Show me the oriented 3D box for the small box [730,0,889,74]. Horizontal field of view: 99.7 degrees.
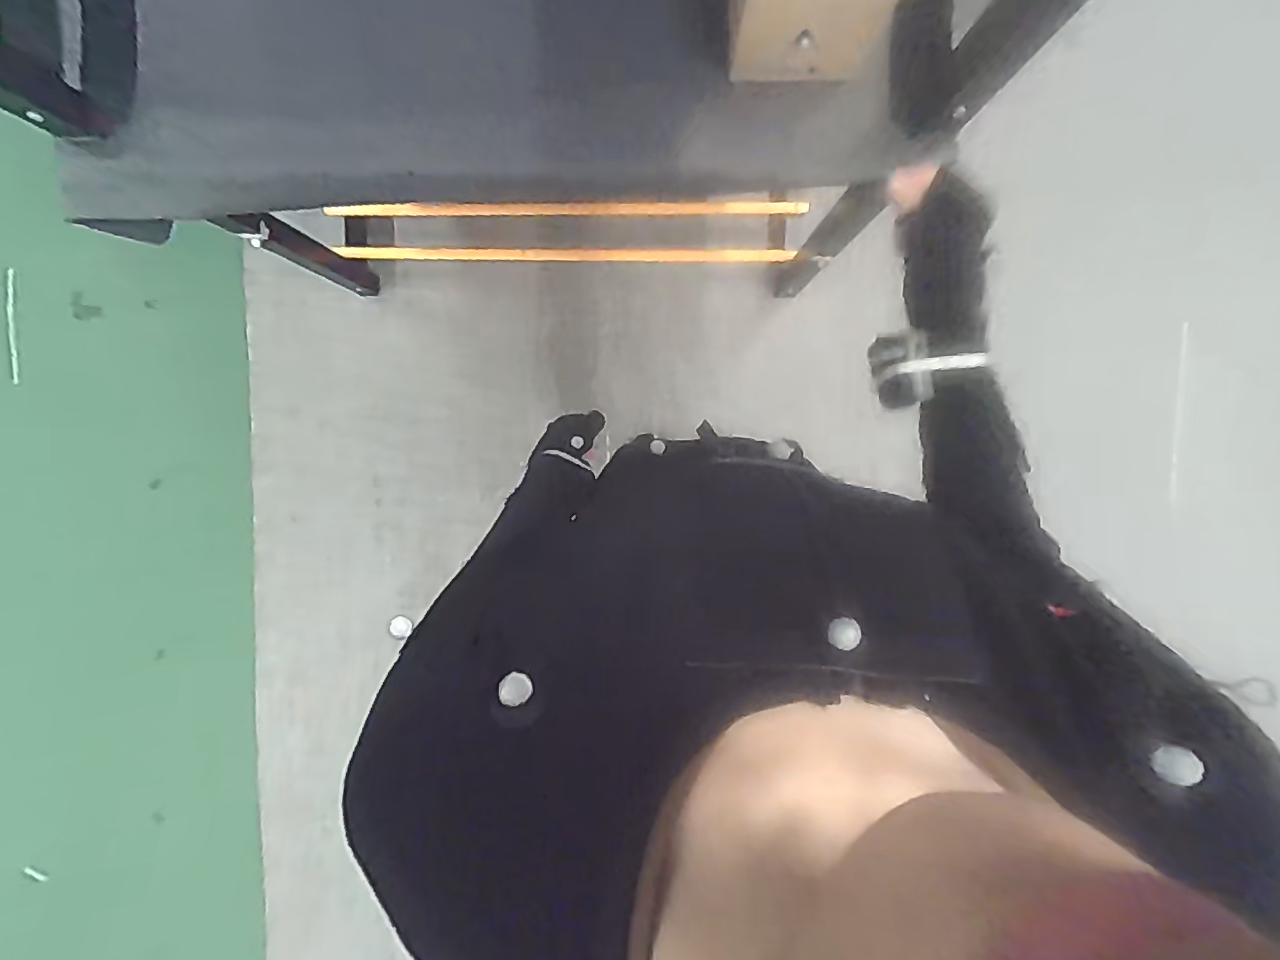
[{"bbox_3d":[0.198,-0.606,0.621,0.168,0.176,0.179,1,93,1],"label":"small box"}]
